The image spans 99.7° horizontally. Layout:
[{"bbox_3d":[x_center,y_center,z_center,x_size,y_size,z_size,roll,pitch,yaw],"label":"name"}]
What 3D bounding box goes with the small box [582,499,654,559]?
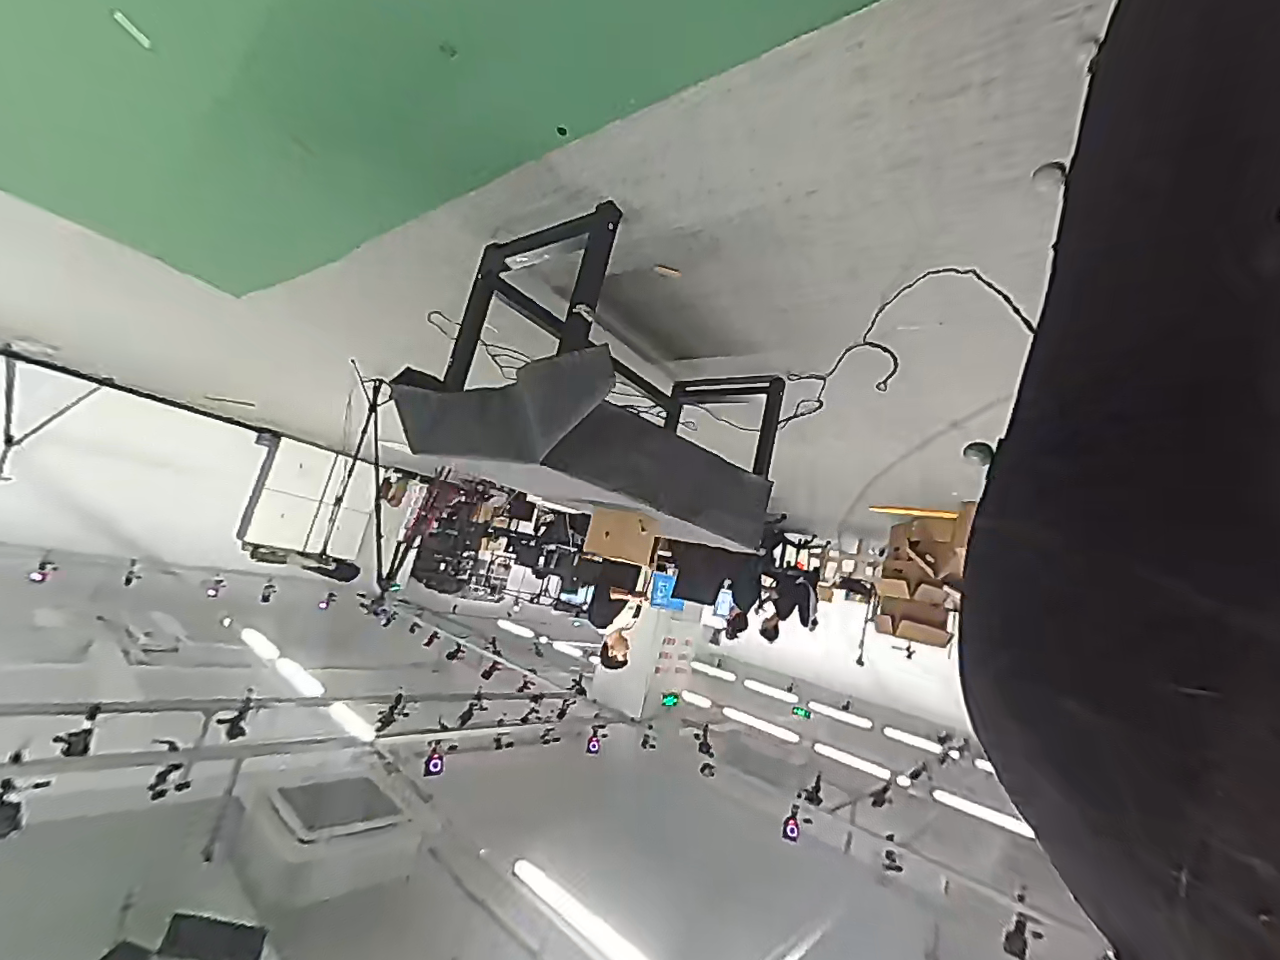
[{"bbox_3d":[-0.073,0.168,1.905,0.179,0.176,0.168,5,168,39],"label":"small box"}]
